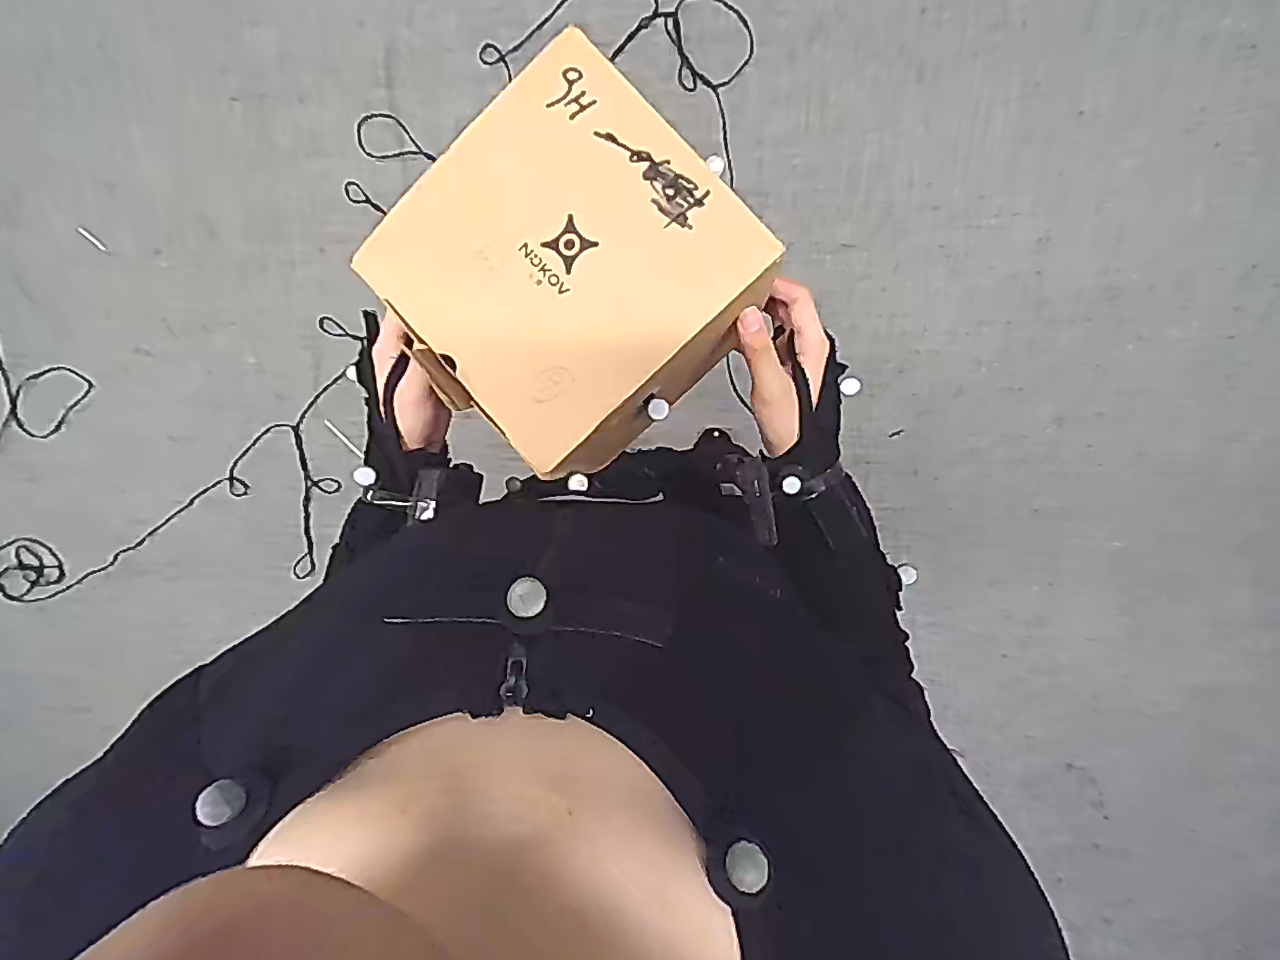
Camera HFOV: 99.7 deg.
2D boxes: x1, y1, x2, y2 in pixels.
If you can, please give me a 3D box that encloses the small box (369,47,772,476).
[{"bbox_3d":[-0.032,-0.121,0.376,0.179,0.176,0.168,-43,88,8],"label":"small box"}]
